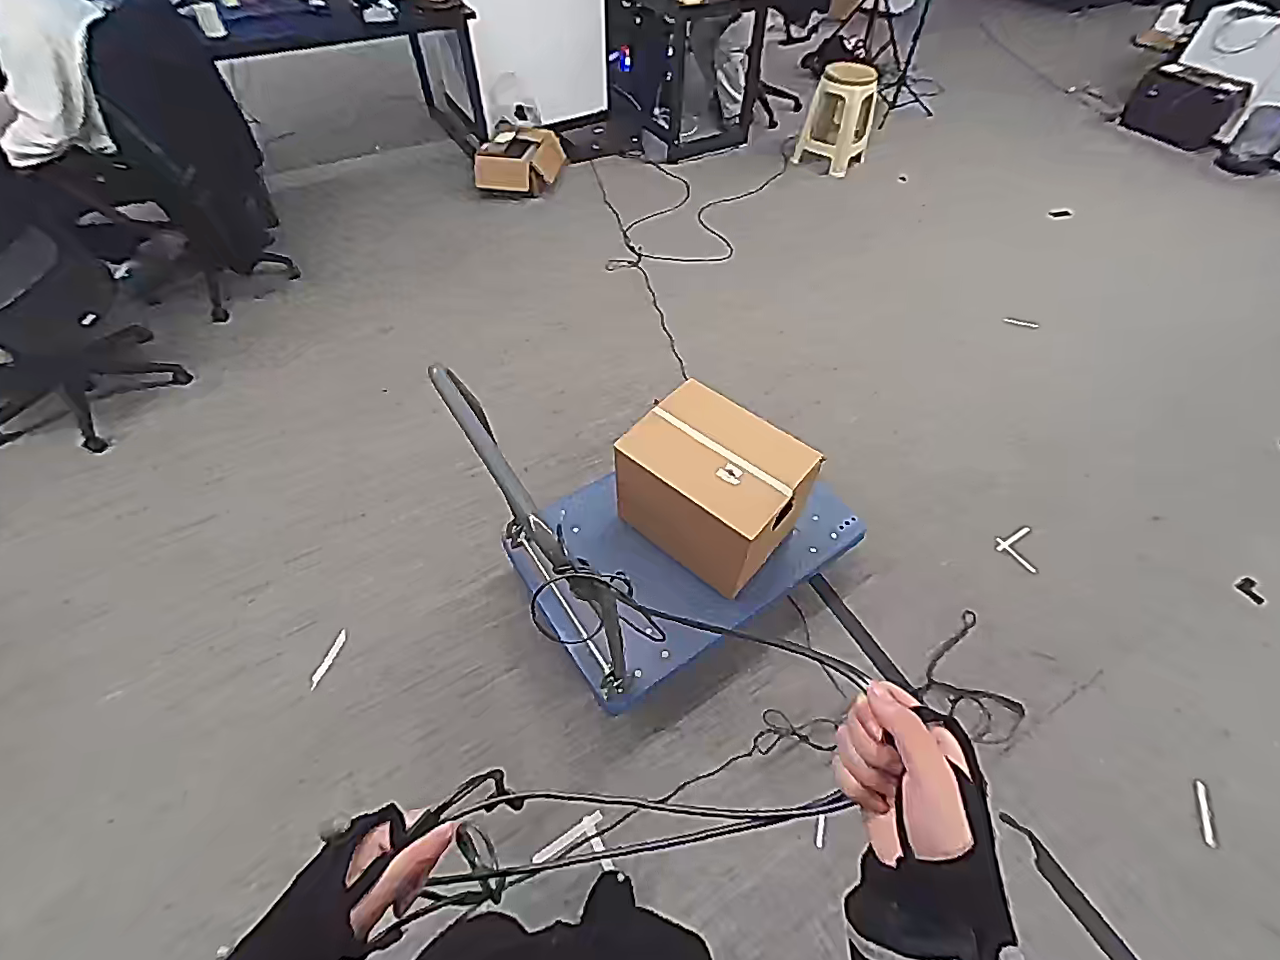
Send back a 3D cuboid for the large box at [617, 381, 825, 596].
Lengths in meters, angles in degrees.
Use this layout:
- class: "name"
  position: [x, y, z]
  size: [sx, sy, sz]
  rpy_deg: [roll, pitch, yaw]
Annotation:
- class: "large box"
  position: [0.186, 0.020, 1.398]
  size: [0.408, 0.320, 0.320]
  rpy_deg: [36, 62, 22]
